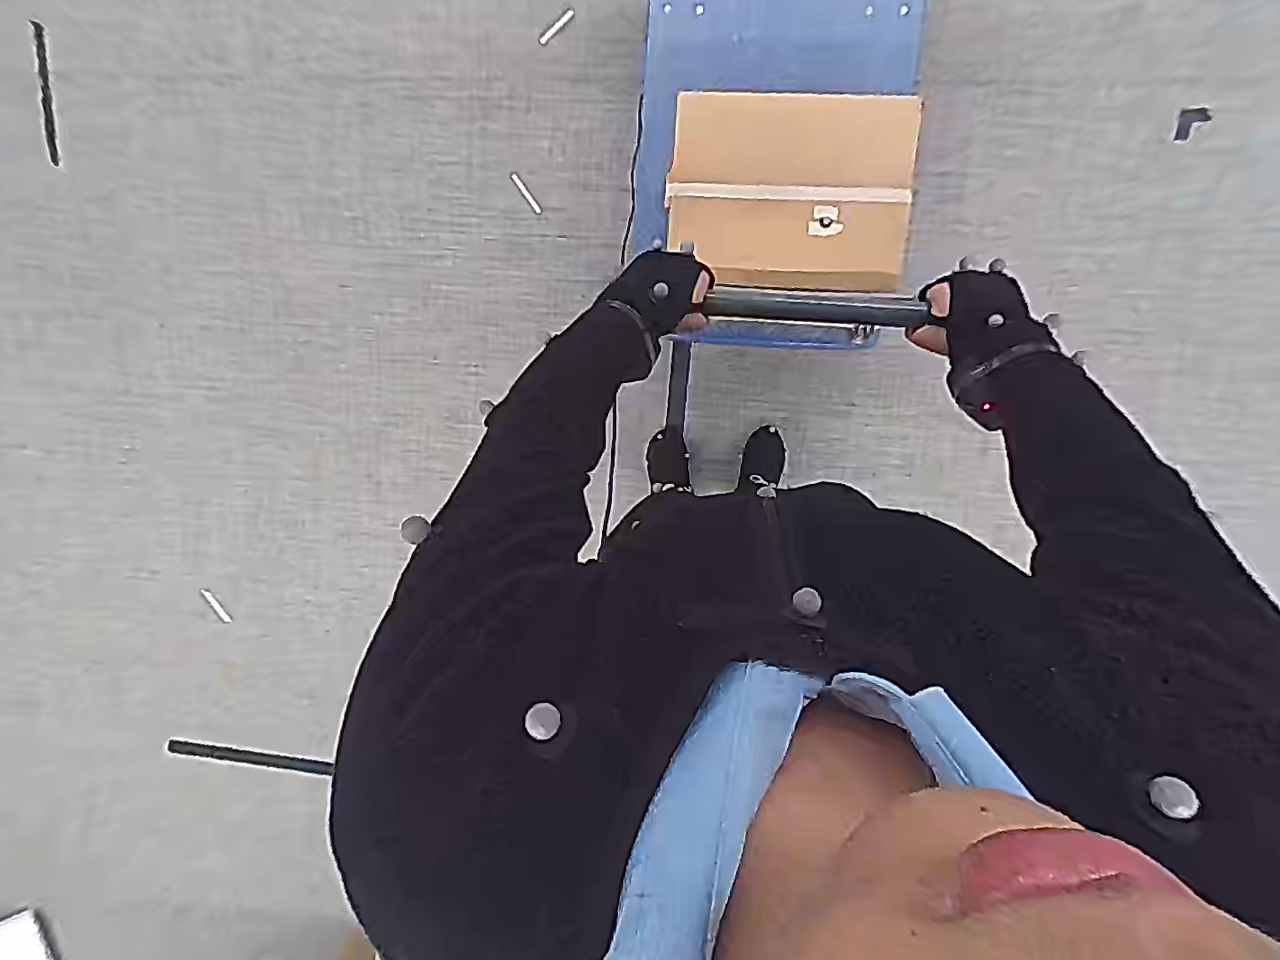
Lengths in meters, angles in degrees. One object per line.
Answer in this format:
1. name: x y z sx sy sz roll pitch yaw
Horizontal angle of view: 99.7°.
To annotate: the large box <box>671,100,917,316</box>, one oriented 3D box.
1. large box: 0.271 -0.516 1.088 0.408 0.320 0.320 4 100 4
